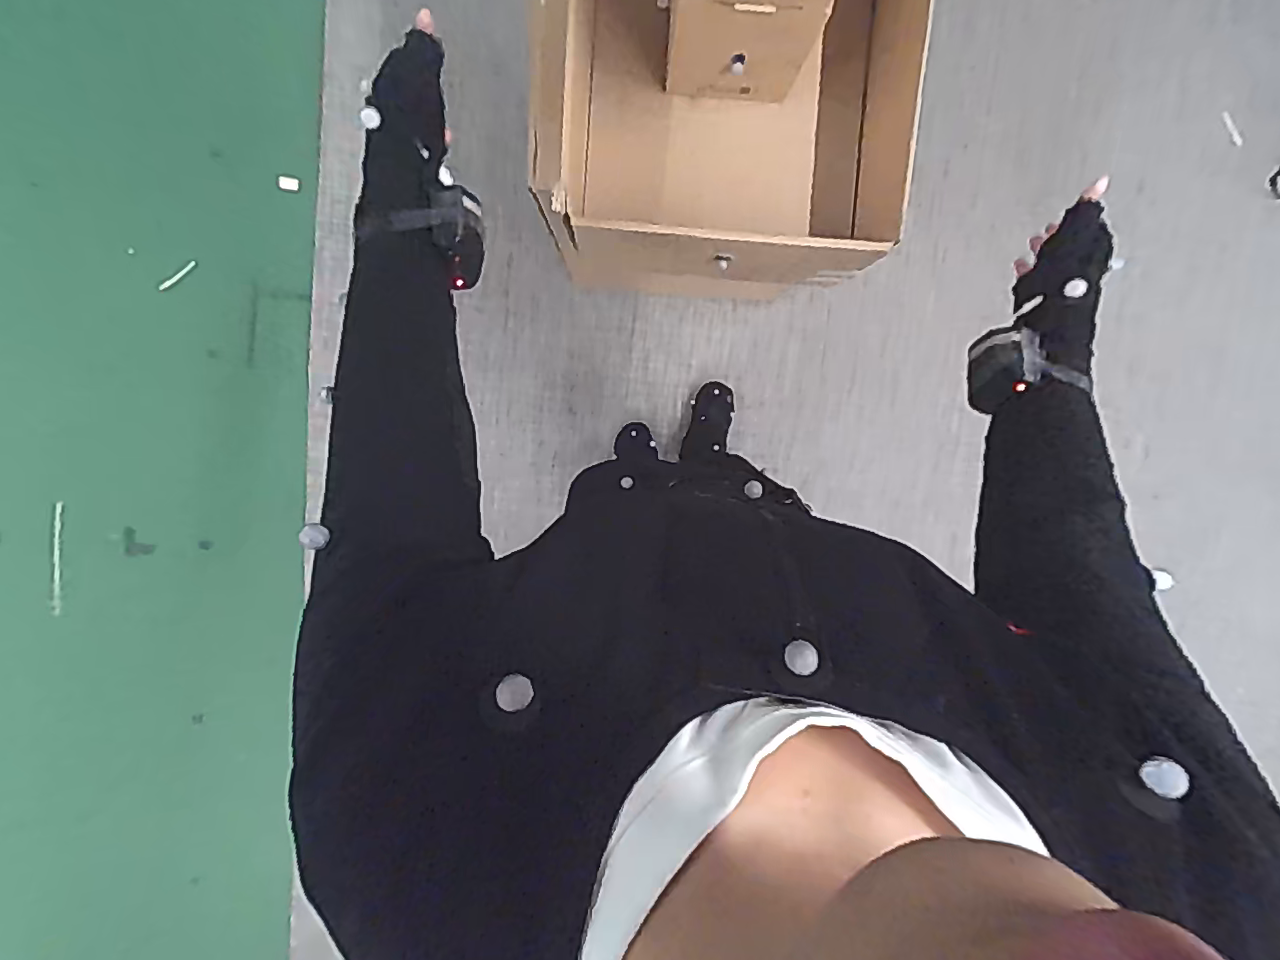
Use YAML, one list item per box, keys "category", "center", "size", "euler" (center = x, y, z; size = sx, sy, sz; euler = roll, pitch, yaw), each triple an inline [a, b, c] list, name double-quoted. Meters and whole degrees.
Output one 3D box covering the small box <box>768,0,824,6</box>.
- category: "small box"
  center: [0.124, -0.575, 0.472]
  size: [0.168, 0.176, 0.179]
  euler: [2, 97, -1]
